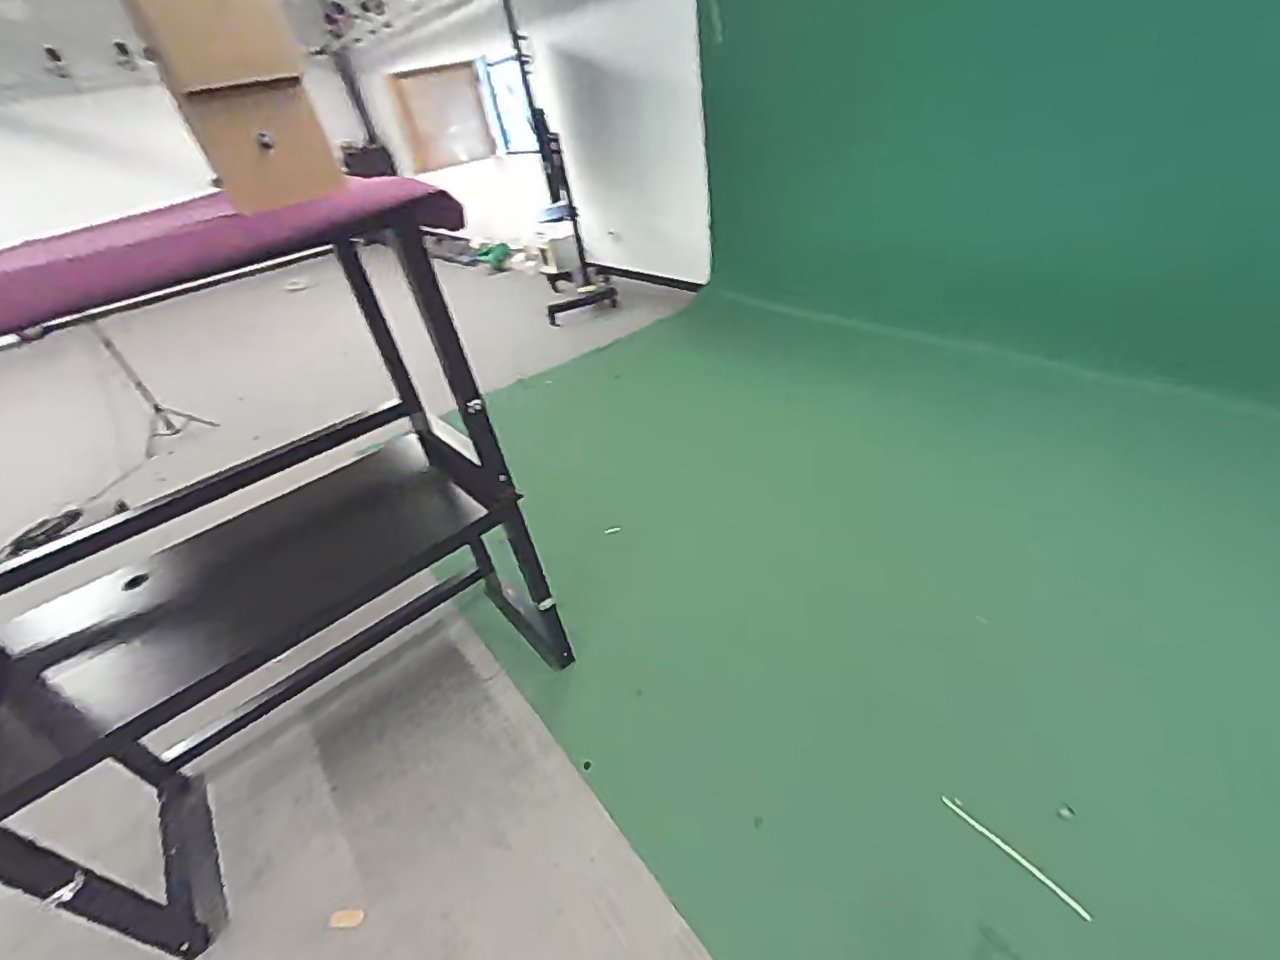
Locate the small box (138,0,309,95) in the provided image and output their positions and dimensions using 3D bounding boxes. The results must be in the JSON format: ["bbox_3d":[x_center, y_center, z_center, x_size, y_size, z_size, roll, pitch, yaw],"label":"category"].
[{"bbox_3d":[-0.638,-0.703,0.825,0.179,0.176,0.168,-33,41,-26],"label":"small box"}]

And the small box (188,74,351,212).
[{"bbox_3d":[-0.629,-0.580,0.935,0.179,0.176,0.168,-32,41,-25],"label":"small box"}]
